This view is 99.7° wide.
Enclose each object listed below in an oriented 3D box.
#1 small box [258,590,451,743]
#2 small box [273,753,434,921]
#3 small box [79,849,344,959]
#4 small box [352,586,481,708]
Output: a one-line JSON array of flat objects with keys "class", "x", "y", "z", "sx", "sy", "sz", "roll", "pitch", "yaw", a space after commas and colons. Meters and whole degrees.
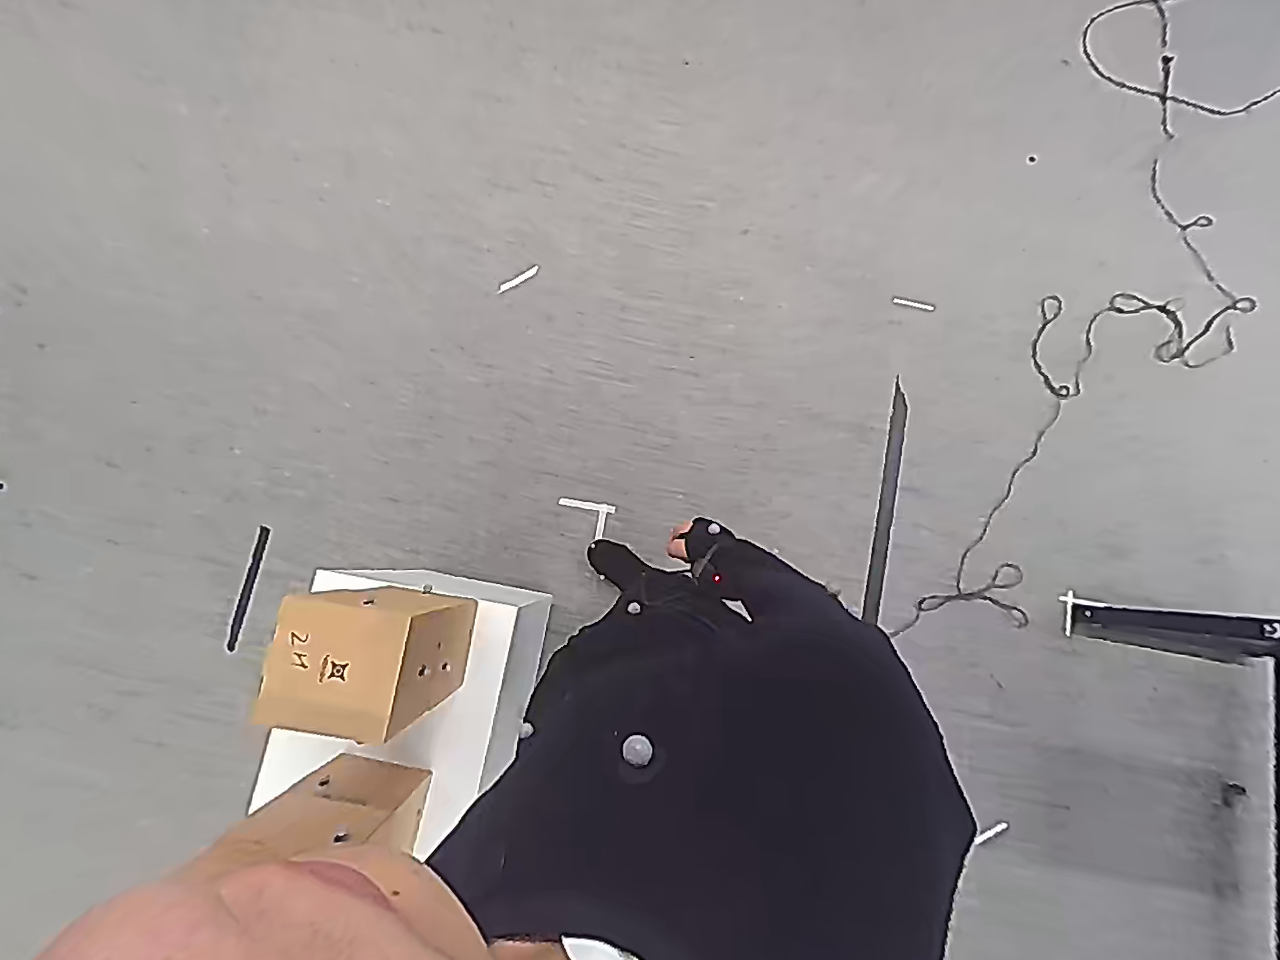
[{"class": "small box", "x": -0.395, "y": 0.257, "z": 0.784, "sx": 0.179, "sy": 0.176, "sz": 0.168, "roll": 9, "pitch": 81, "yaw": 0}, {"class": "small box", "x": -0.469, "y": 0.579, "z": 0.901, "sx": 0.179, "sy": 0.176, "sz": 0.168, "roll": 11, "pitch": 80, "yaw": 1}, {"class": "small box", "x": -0.456, "y": 0.535, "z": 0.575, "sx": 0.179, "sy": 0.176, "sz": 0.168, "roll": 14, "pitch": 81, "yaw": 2}, {"class": "small box", "x": -0.399, "y": 0.282, "z": 0.948, "sx": 0.179, "sy": 0.176, "sz": 0.168, "roll": 9, "pitch": 82, "yaw": 0}]
